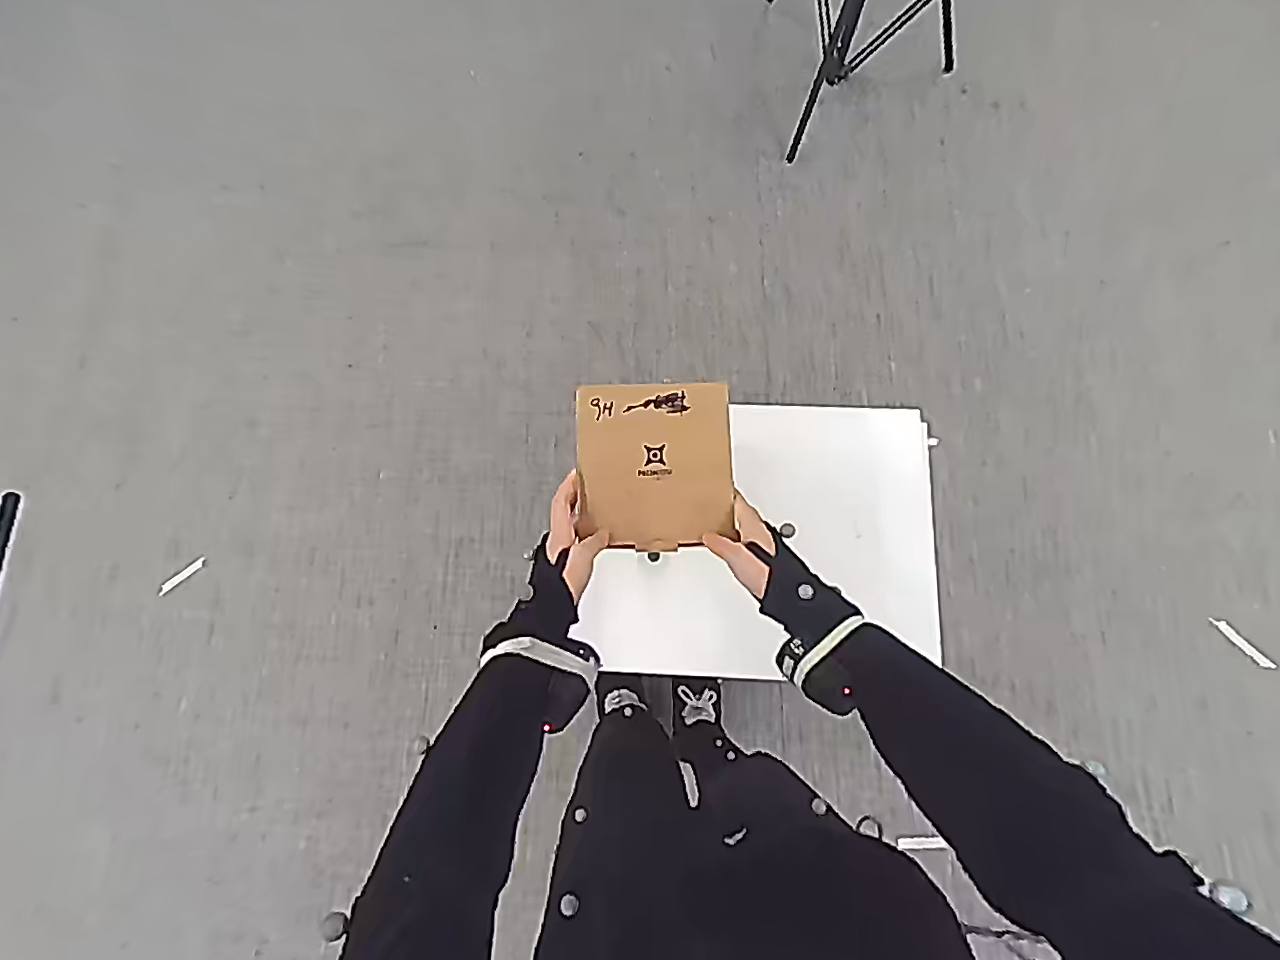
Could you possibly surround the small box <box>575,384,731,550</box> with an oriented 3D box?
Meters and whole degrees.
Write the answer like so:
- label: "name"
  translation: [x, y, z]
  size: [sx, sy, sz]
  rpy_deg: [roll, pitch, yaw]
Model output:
- label: "small box"
  translation: [0.014, -0.008, 0.651]
  size: [0.168, 0.176, 0.179]
  rpy_deg: [-2, 84, 0]
